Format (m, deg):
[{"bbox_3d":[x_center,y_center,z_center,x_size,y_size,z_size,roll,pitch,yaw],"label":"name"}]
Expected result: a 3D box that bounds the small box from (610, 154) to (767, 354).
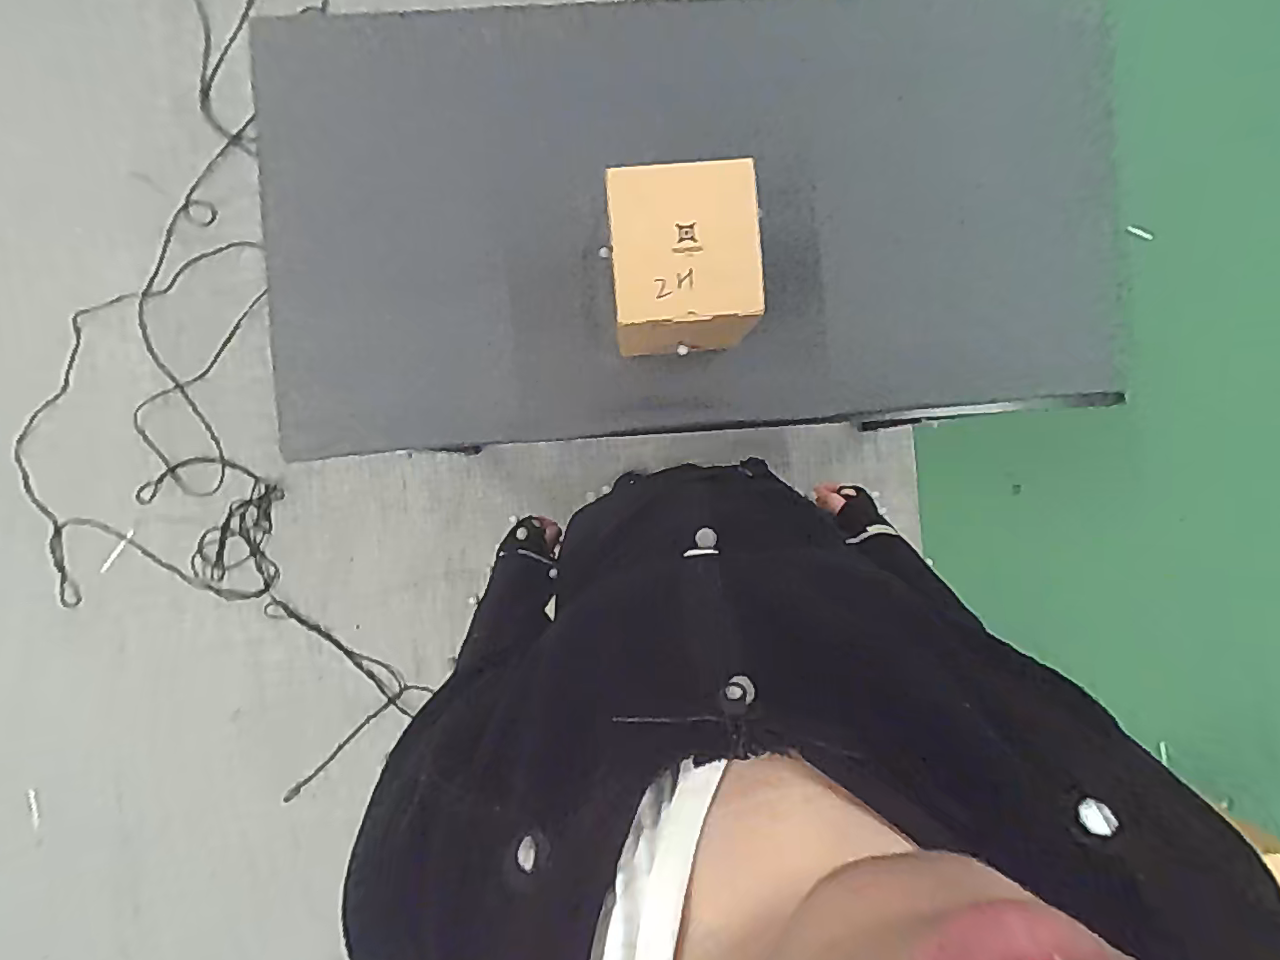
[{"bbox_3d":[0.052,-0.268,0.674,0.168,0.176,0.179,-5,91,0],"label":"small box"}]
